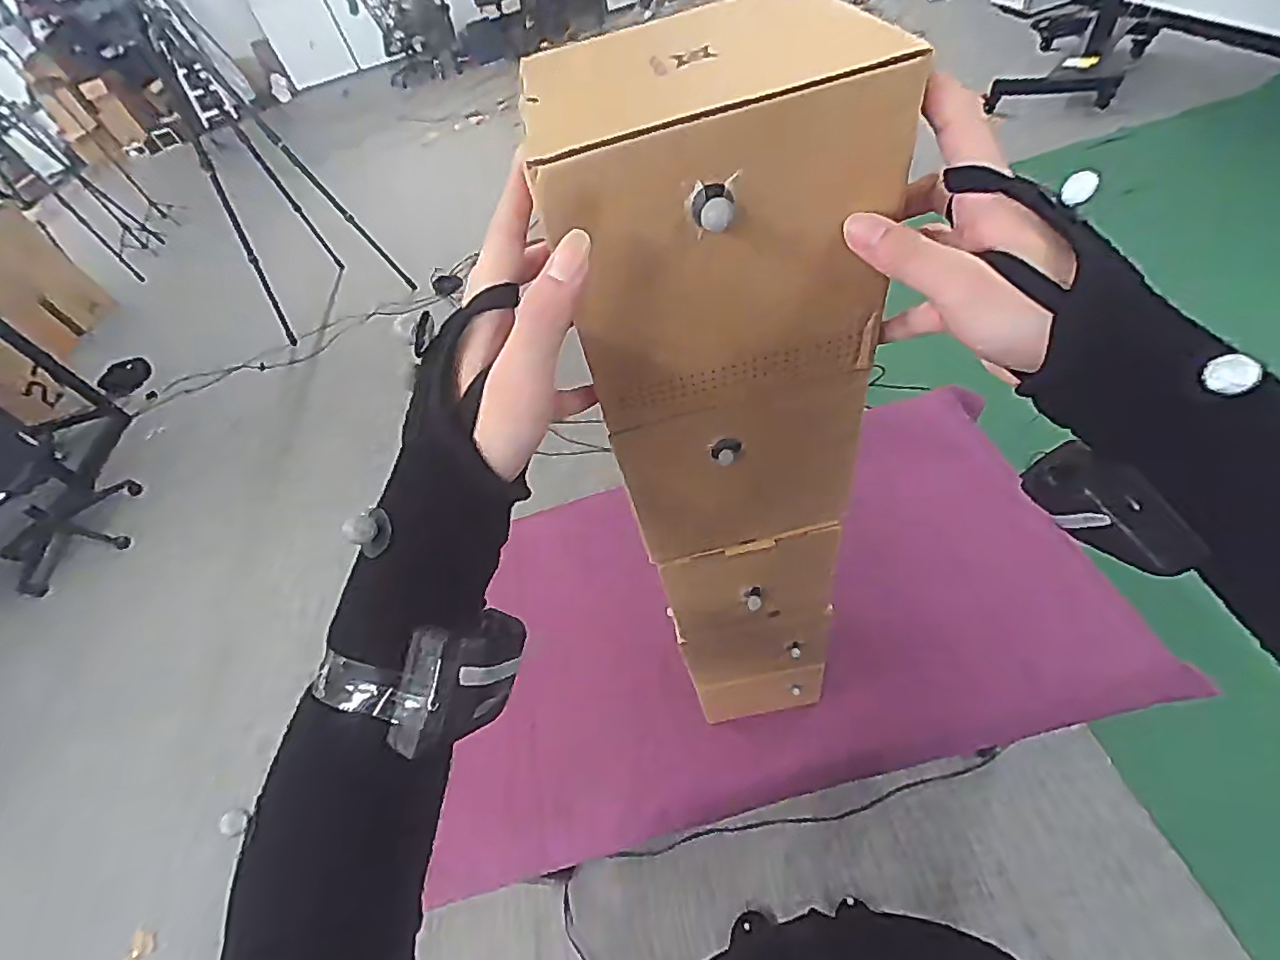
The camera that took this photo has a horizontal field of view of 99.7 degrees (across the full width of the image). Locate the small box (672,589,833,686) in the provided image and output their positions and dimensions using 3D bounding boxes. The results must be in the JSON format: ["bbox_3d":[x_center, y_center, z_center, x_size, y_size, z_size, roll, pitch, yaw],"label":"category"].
[{"bbox_3d":[0.133,0.149,0.705,0.179,0.176,0.168,-13,49,5],"label":"small box"}]

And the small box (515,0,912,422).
[{"bbox_3d":[0.035,-0.163,0.340,0.179,0.176,0.168,-15,49,4],"label":"small box"}]

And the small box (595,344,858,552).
[{"bbox_3d":[0.064,-0.059,0.462,0.179,0.176,0.168,-14,49,3],"label":"small box"}]

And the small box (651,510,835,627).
[{"bbox_3d":[0.098,0.044,0.585,0.168,0.176,0.179,-13,50,4],"label":"small box"}]
